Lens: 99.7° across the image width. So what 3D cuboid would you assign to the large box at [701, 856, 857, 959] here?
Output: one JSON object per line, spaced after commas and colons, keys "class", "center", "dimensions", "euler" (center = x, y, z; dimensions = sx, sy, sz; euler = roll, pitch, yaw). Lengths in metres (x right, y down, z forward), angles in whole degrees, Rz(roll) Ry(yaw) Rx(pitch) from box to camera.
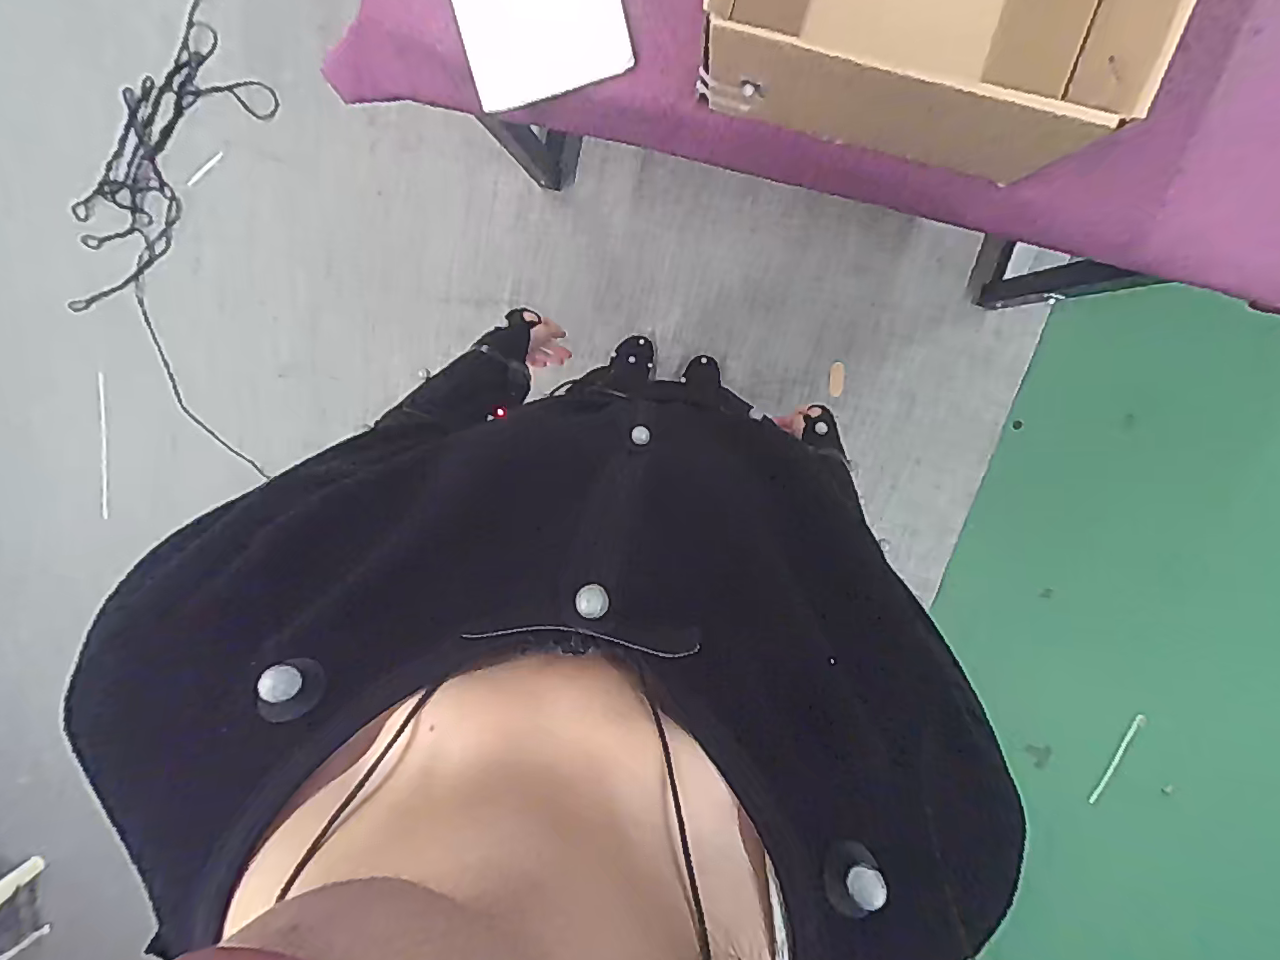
{"class": "large box", "center": [0.393, 1.393, 1.623], "dimensions": [0.408, 0.320, 0.320], "euler": [0, 103, 4]}
